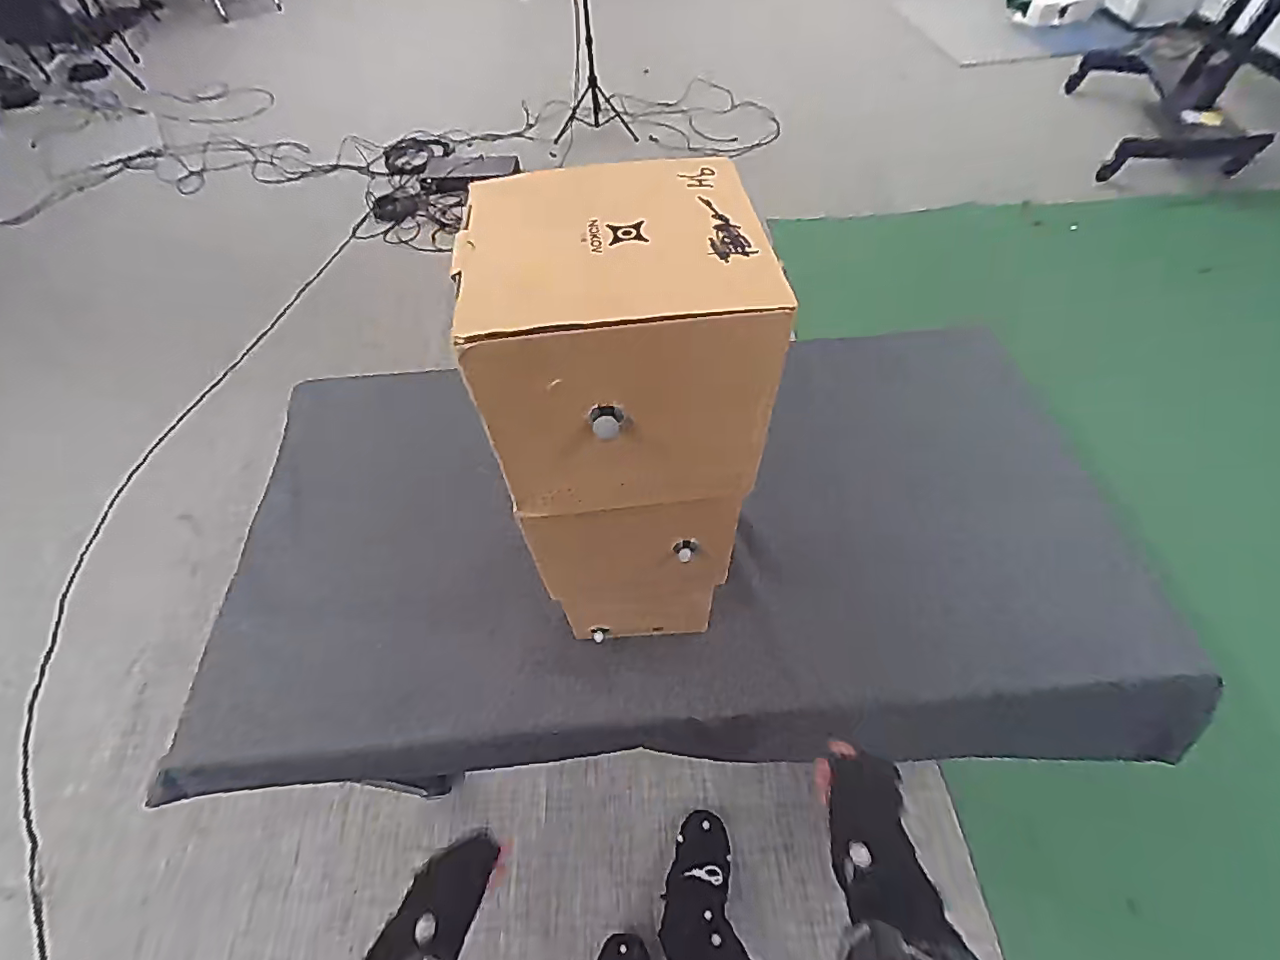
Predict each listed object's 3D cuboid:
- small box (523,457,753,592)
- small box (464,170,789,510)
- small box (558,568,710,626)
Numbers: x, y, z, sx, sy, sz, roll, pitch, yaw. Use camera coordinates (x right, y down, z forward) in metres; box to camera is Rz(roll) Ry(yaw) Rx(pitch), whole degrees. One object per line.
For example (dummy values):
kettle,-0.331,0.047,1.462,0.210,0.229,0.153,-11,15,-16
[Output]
small box,-0.010,-0.010,0.509,0.179,0.176,0.168,-8,56,-4
small box,-0.013,-0.093,0.391,0.179,0.176,0.168,-8,54,-4
small box,-0.007,0.073,0.668,0.168,0.176,0.179,-3,55,0
